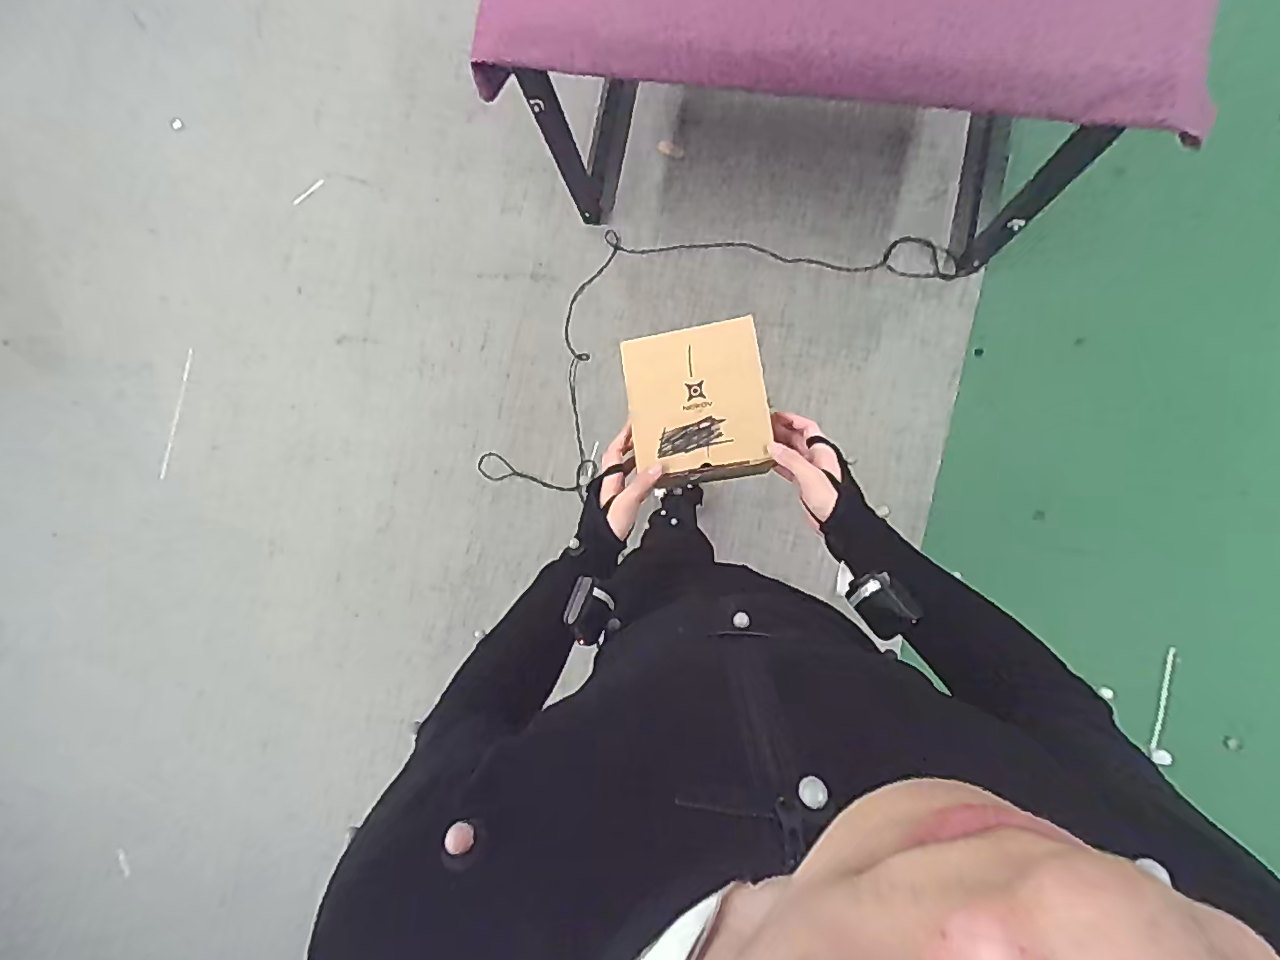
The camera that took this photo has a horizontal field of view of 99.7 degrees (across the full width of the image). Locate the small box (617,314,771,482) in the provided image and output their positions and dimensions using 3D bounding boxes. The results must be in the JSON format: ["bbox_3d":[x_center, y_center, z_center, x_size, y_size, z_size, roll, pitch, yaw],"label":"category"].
[{"bbox_3d":[0.077,-0.094,0.718,0.168,0.176,0.179,-9,83,9],"label":"small box"}]
